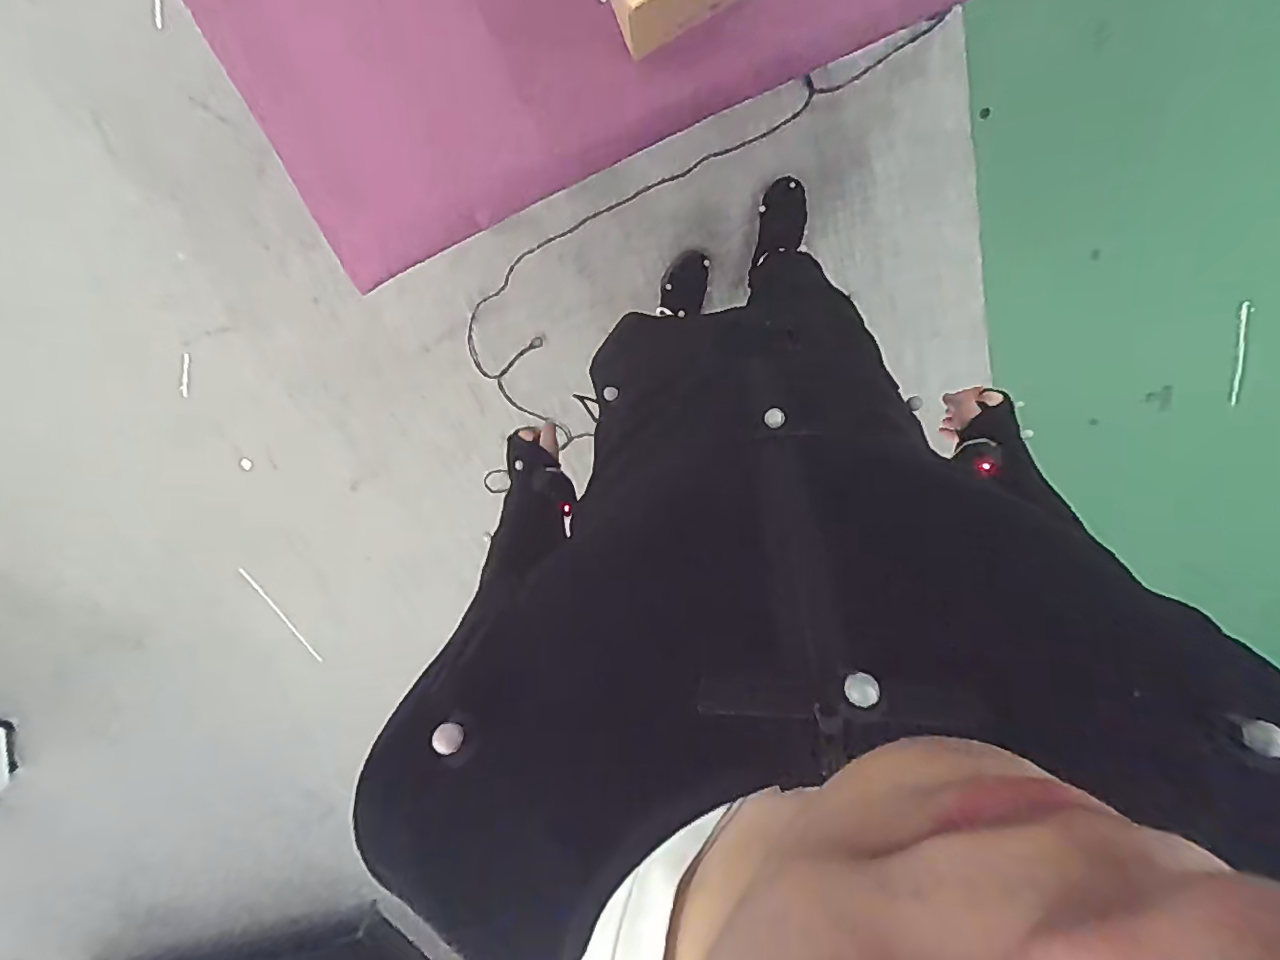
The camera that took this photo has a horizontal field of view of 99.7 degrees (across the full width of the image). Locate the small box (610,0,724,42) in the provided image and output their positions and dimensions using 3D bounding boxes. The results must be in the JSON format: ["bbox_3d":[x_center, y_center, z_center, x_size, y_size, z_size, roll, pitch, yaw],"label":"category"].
[{"bbox_3d":[0.027,-0.574,0.528,0.168,0.176,0.179,-23,112,12],"label":"small box"}]
